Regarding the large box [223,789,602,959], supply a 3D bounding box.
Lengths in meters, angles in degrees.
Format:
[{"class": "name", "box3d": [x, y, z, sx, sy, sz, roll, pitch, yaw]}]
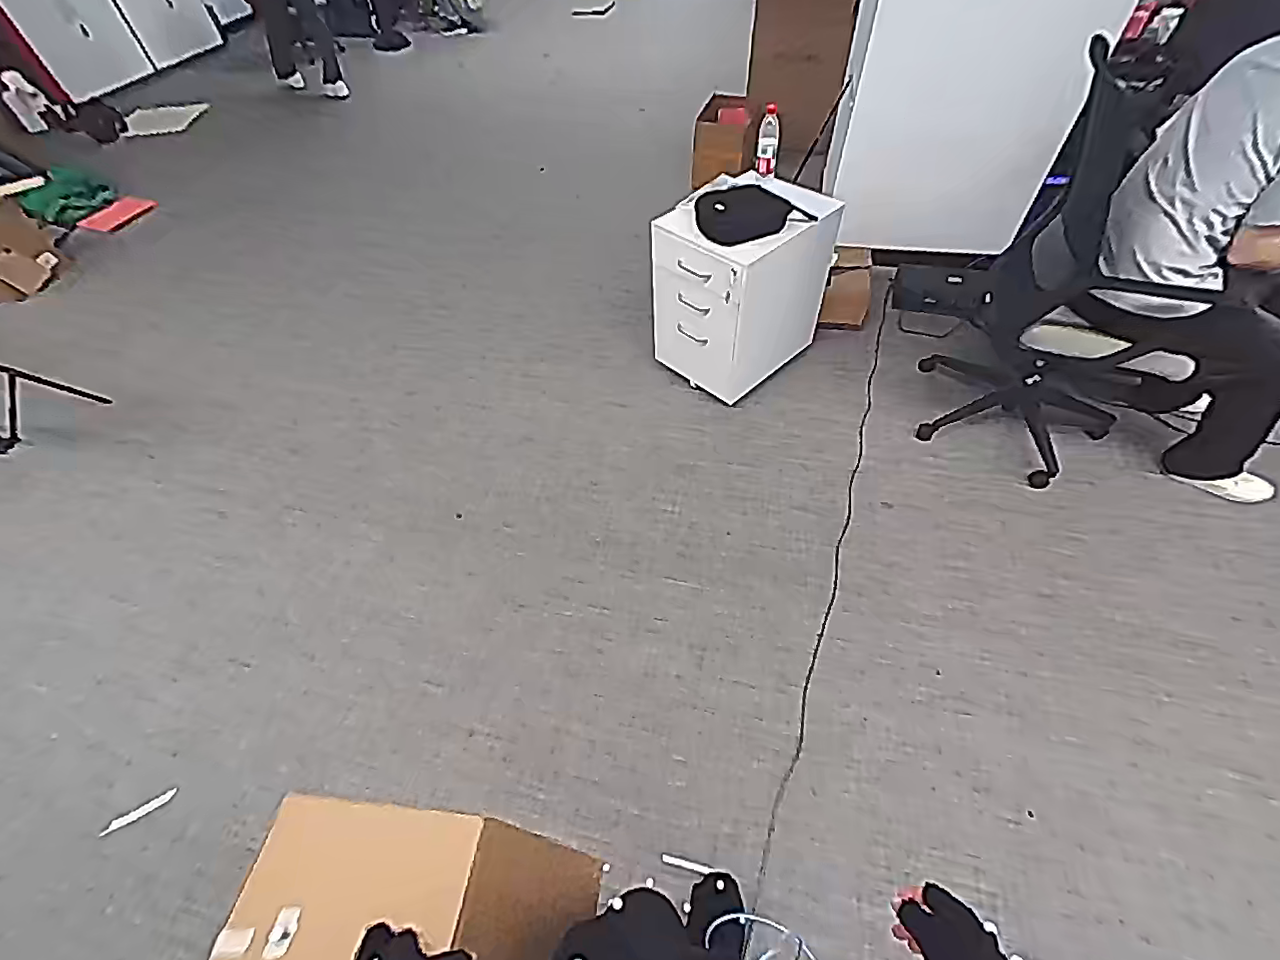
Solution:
[{"class": "large box", "box3d": [-0.288, 0.648, 0.747, 0.320, 0.408, 0.320, -2, 51, 20]}]
